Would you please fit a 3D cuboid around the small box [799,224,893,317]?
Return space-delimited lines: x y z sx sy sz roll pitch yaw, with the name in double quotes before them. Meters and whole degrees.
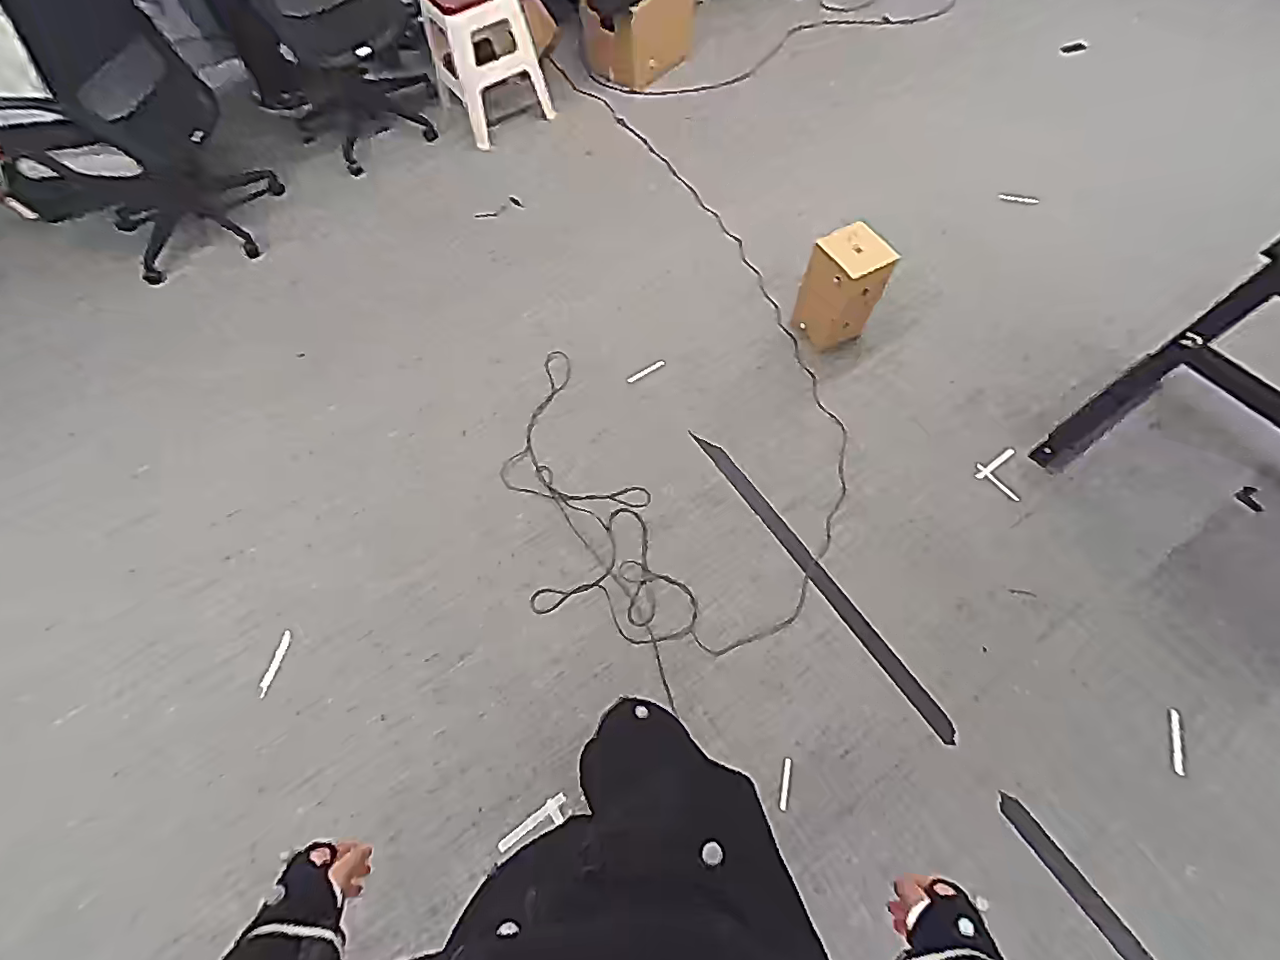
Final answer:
"small box" 0.601 -0.610 1.598 0.168 0.176 0.179 -27 65 -12

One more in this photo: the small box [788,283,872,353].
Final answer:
"small box" 0.606 -0.548 1.751 0.179 0.176 0.168 -25 65 -9
